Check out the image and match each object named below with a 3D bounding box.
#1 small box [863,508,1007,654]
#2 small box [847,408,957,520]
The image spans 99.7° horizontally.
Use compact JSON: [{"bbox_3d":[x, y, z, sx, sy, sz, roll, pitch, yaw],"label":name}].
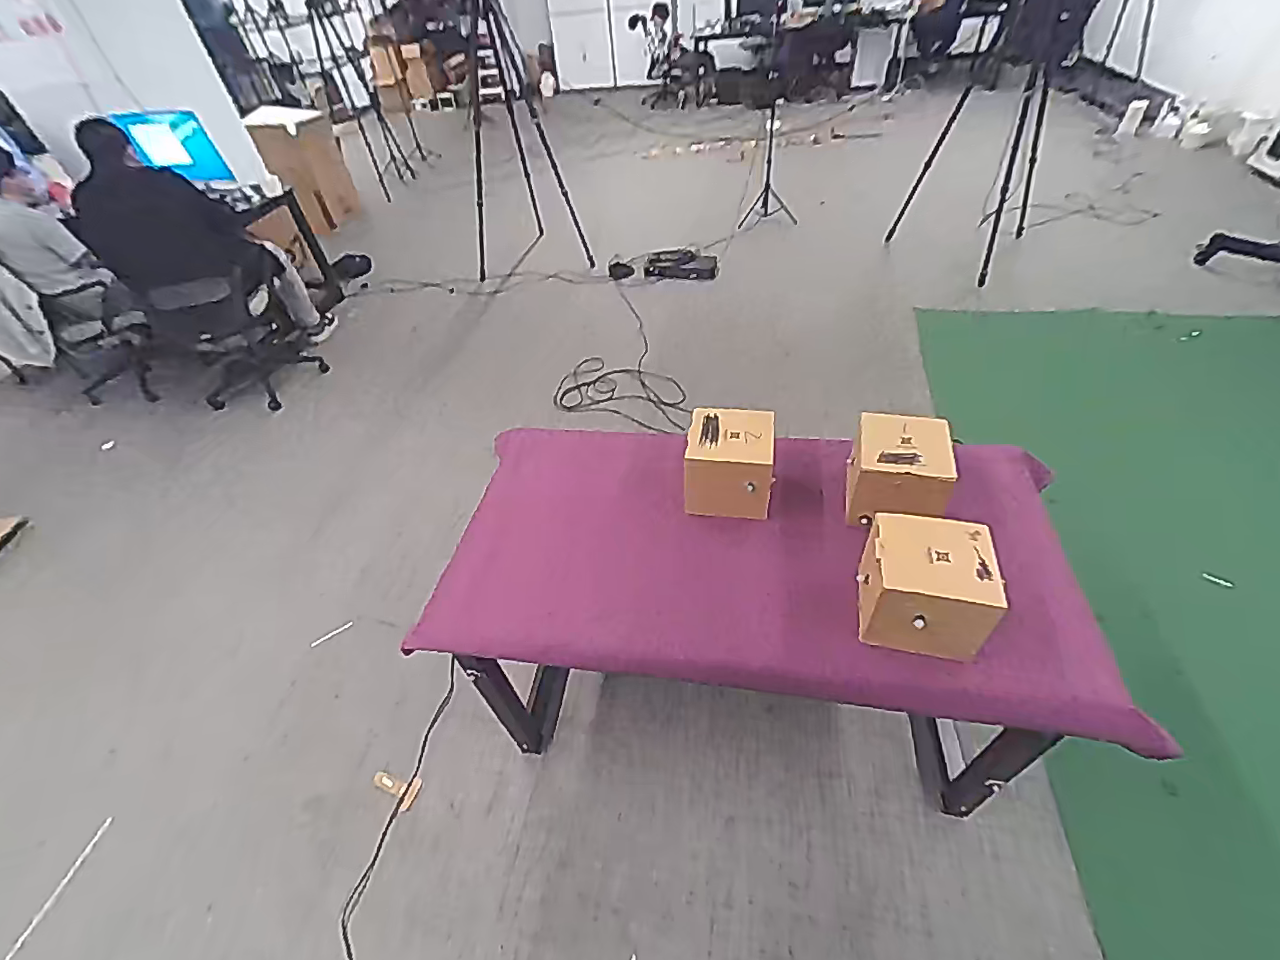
[{"bbox_3d":[0.479,0.171,0.911,0.179,0.176,0.168,7,46,15],"label":"small box"},{"bbox_3d":[0.523,-0.022,1.097,0.168,0.176,0.179,8,47,15],"label":"small box"}]
